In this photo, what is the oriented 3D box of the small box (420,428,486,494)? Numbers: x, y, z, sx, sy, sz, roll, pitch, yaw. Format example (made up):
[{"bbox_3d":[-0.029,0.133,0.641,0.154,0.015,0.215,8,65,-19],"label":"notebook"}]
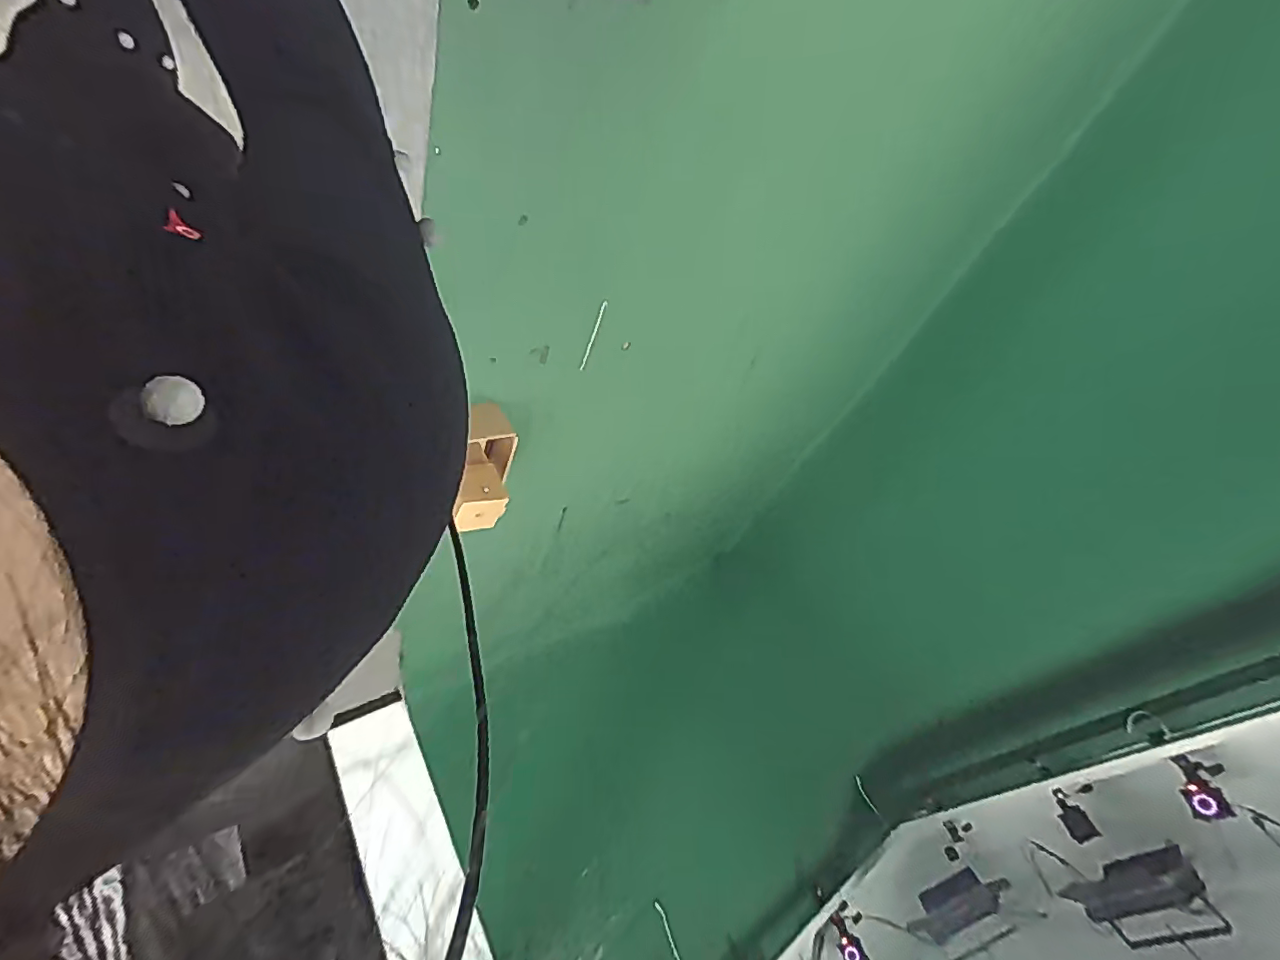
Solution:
[{"bbox_3d":[-0.686,-0.065,1.983,0.168,0.176,0.179,-1,139,-48],"label":"small box"}]

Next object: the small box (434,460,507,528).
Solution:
[{"bbox_3d":[-0.600,0.044,1.896,0.179,0.176,0.168,-6,143,-44],"label":"small box"}]

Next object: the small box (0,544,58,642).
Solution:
[{"bbox_3d":[-1.504,0.265,1.275,0.168,0.176,0.179,-3,141,-42],"label":"small box"}]
